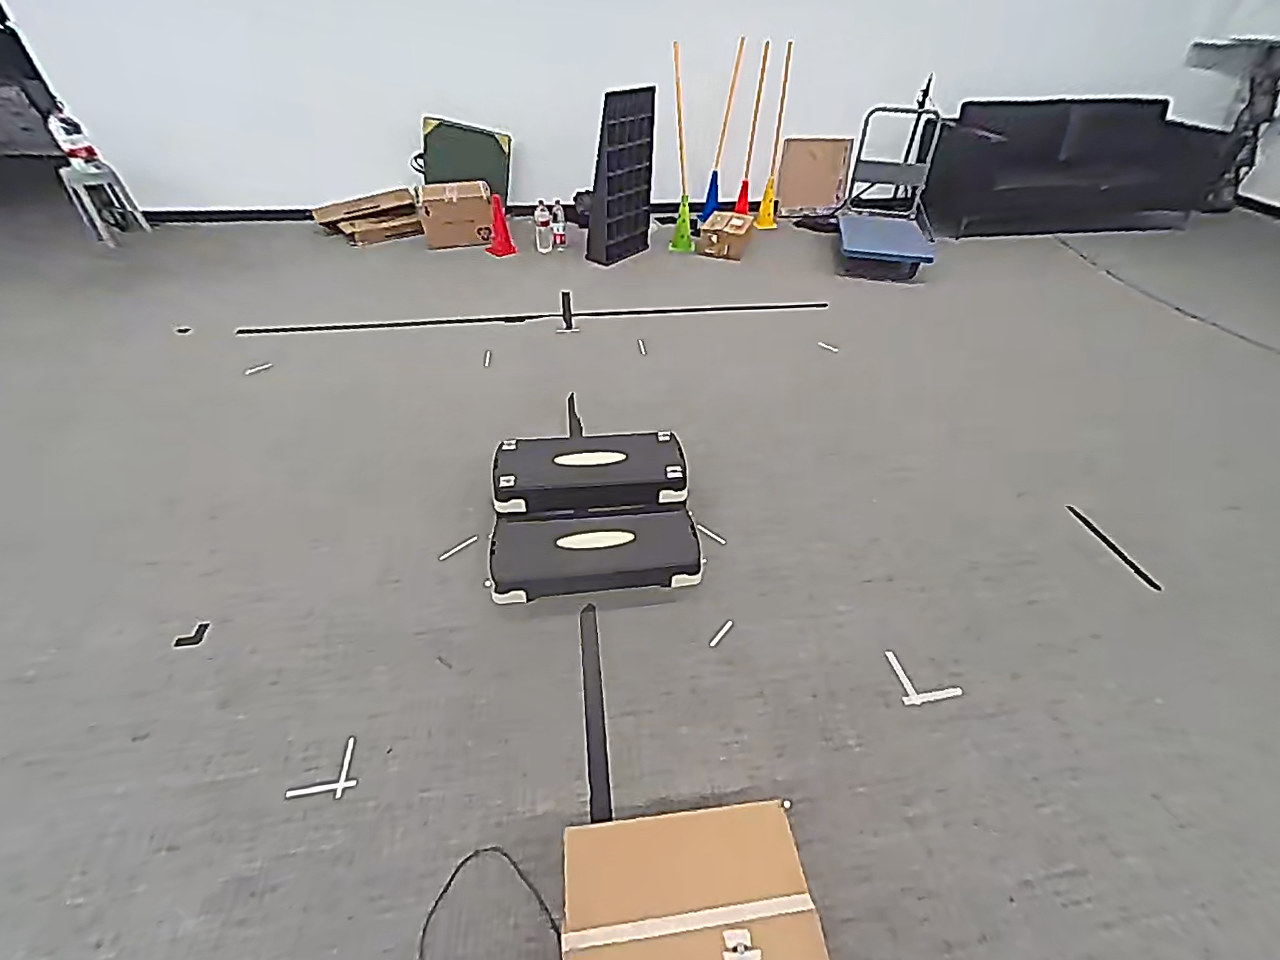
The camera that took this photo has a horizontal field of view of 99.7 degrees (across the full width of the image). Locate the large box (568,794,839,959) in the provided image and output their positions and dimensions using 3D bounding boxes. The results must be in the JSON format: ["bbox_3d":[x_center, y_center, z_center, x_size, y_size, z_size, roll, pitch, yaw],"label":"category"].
[{"bbox_3d":[0.087,0.800,0.947,0.408,0.320,0.320,-3,42,-7],"label":"large box"}]

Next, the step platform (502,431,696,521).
[{"bbox_3d":[-0.144,-0.021,1.941,0.684,0.204,0.286,0,42,-3],"label":"step platform"}]
